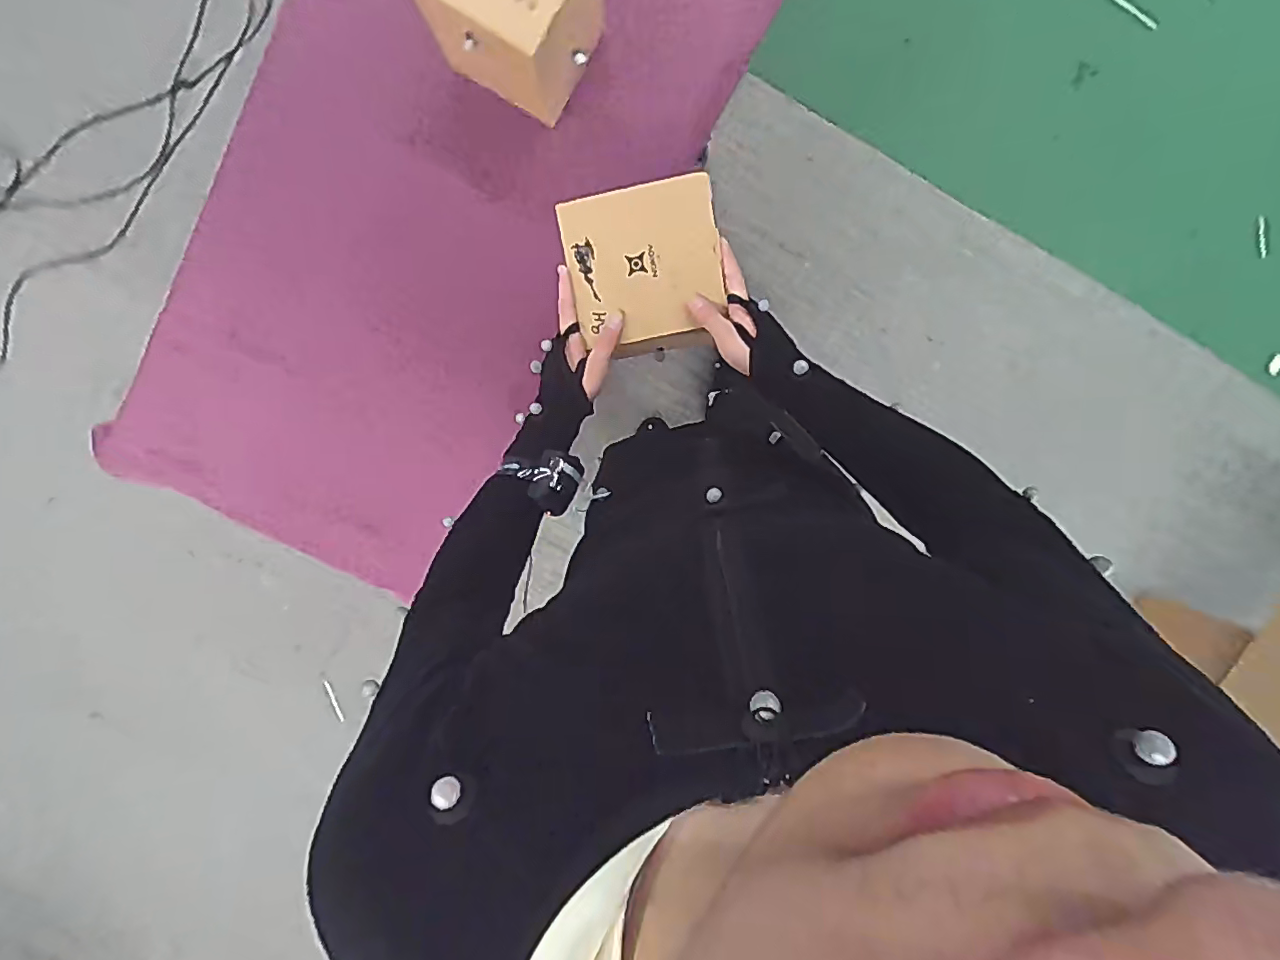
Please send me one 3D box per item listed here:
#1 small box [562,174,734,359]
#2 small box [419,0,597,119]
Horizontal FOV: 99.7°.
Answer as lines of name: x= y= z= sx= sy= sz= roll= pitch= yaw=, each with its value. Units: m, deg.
small box: x=0.013 y=-0.253 z=0.682 sx=0.179 sy=0.176 sz=0.168 roll=-9 pitch=97 yaw=4
small box: x=-0.172 y=-0.635 z=0.724 sx=0.179 sy=0.176 sz=0.168 roll=29 pitch=96 yaw=-4
